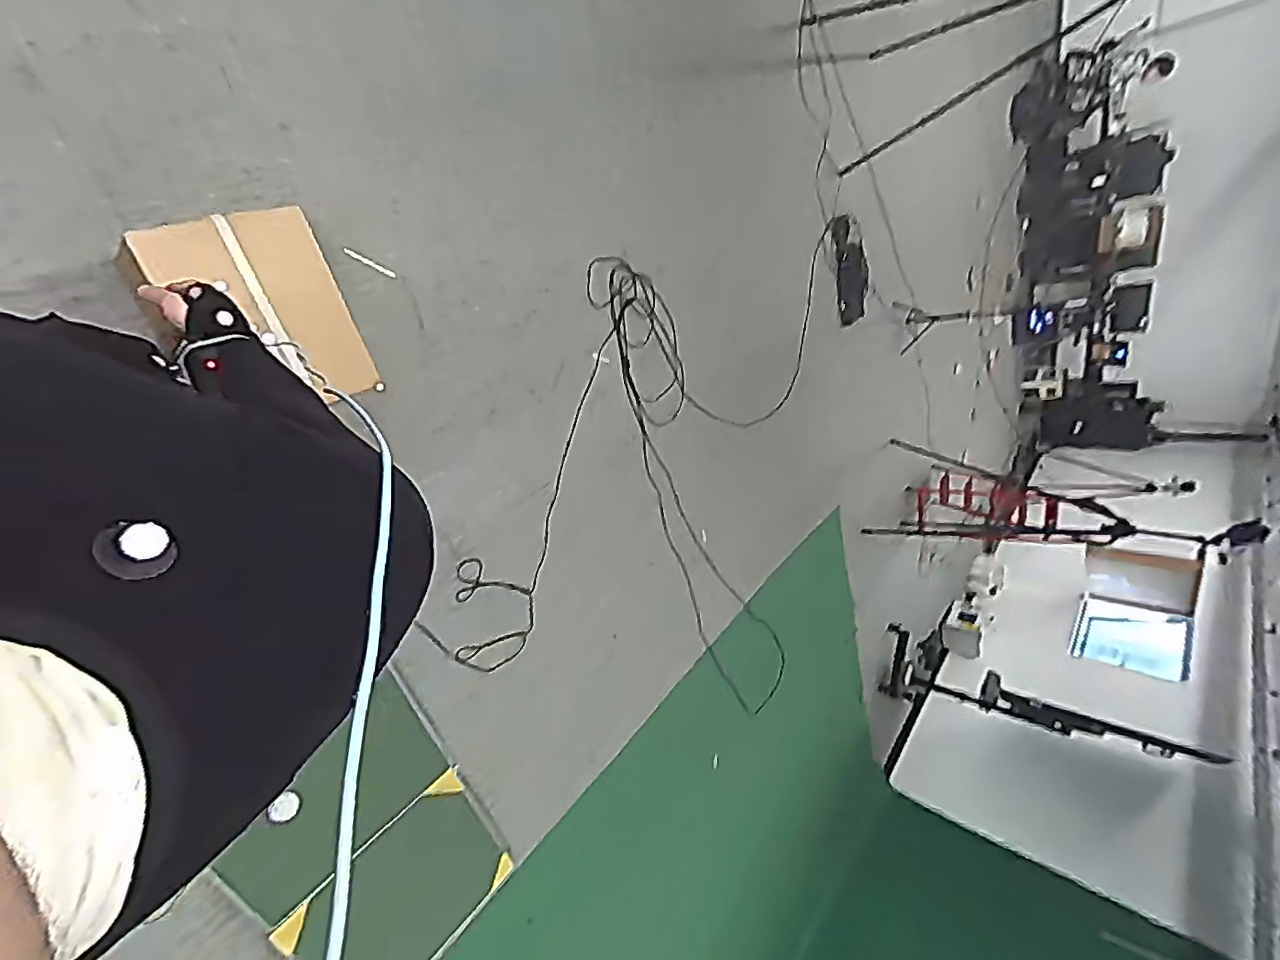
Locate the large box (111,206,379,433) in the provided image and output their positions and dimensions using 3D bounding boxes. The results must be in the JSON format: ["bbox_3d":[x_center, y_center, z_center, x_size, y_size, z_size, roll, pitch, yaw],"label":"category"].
[{"bbox_3d":[-0.890,-0.358,1.241,0.320,0.320,0.408,-36,122,-36],"label":"large box"}]
